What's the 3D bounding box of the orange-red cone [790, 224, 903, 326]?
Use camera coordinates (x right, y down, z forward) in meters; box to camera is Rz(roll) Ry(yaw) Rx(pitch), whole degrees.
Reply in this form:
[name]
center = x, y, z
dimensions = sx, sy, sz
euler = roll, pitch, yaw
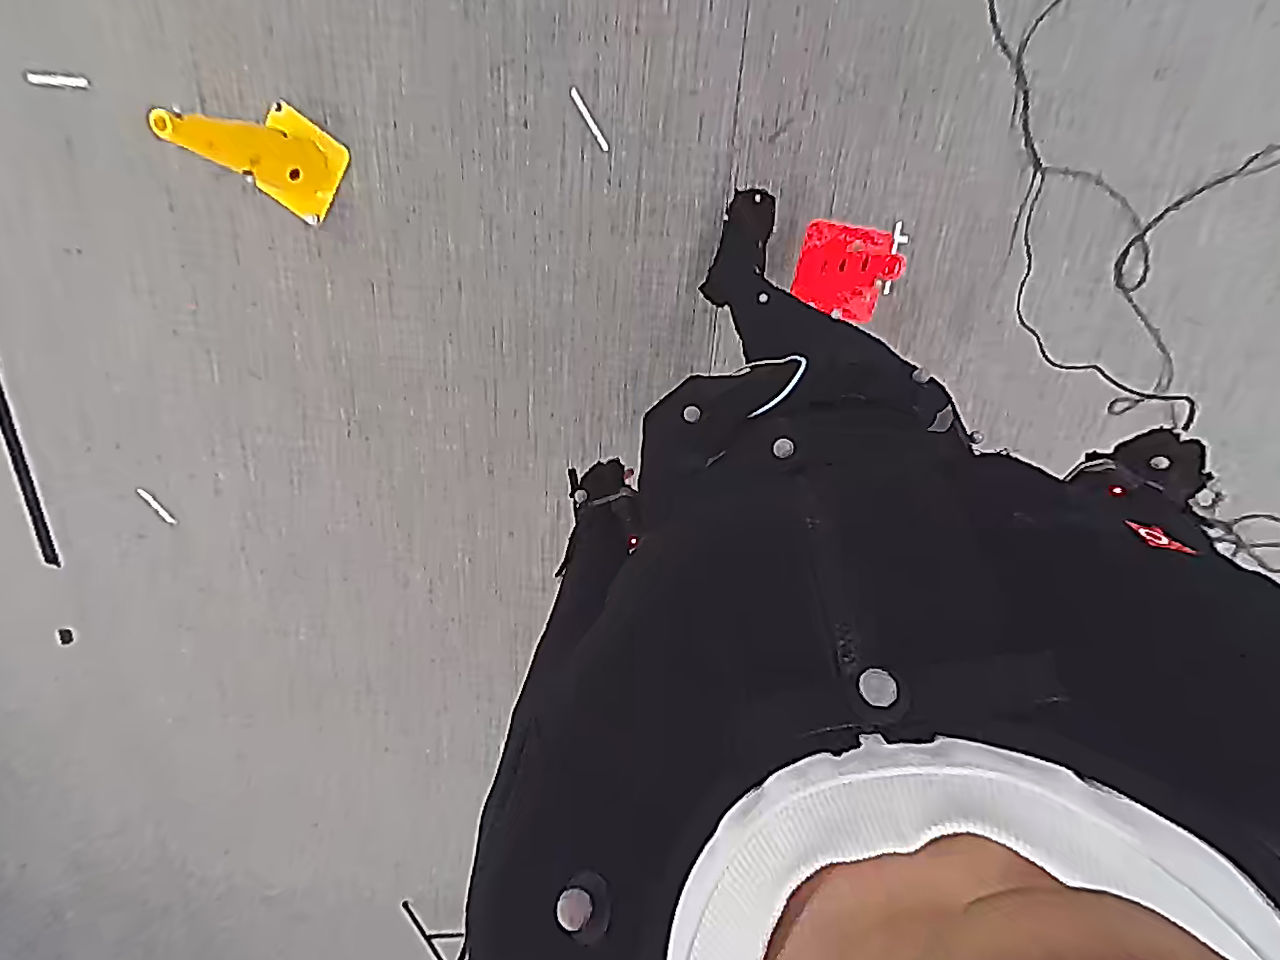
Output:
[orange-red cone]
center = 0.447, -0.420, 1.089
dimensions = 0.199, 0.360, 0.198
euler = 13, 109, 2
